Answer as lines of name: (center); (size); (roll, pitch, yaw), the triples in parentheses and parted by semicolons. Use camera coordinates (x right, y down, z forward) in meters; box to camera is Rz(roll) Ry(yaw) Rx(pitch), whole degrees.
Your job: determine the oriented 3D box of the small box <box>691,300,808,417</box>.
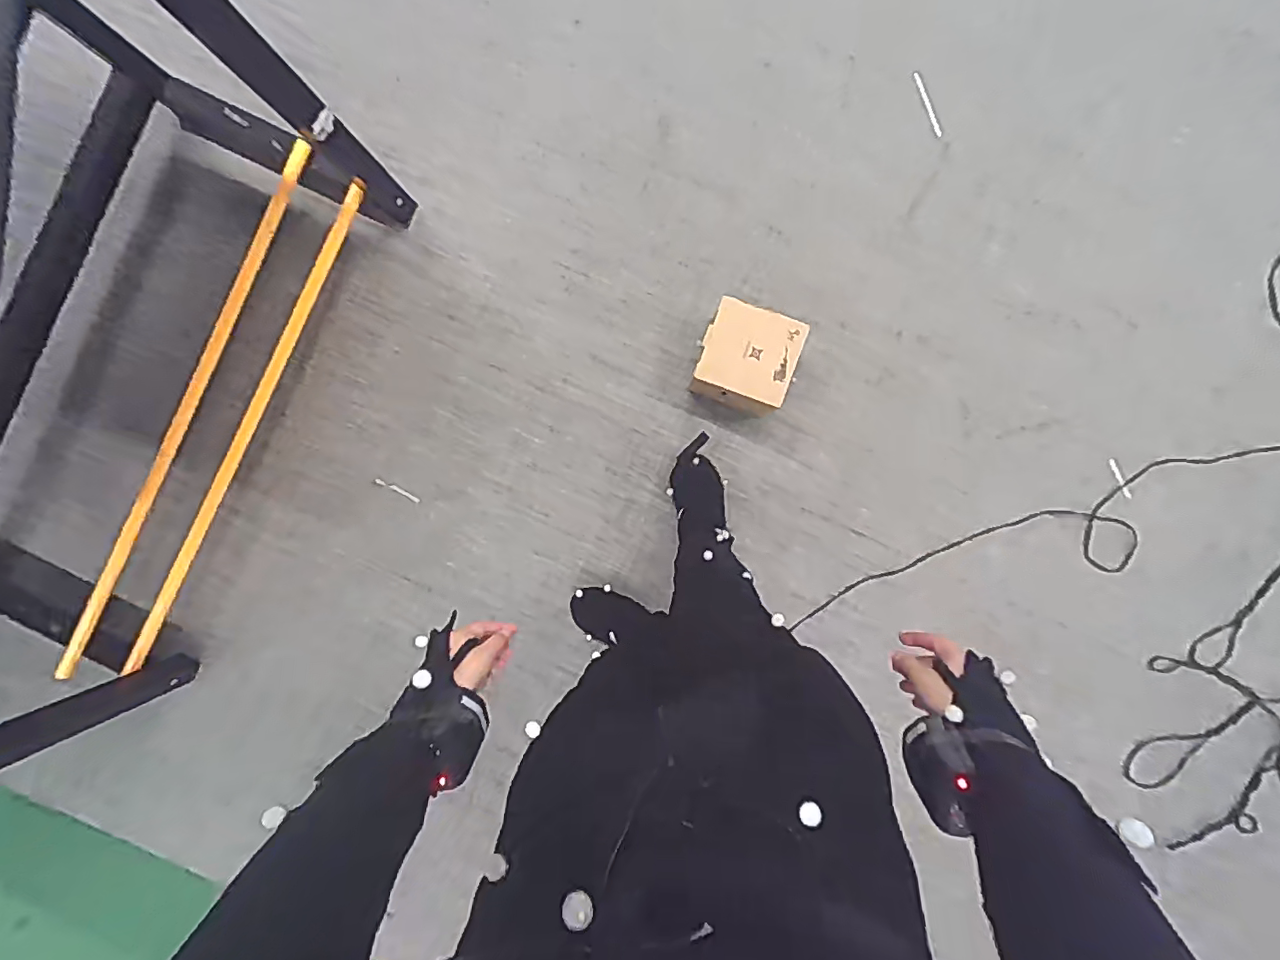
small box: (0.208, -0.233, 1.088); (0.179, 0.176, 0.168); (20, 91, 2)
